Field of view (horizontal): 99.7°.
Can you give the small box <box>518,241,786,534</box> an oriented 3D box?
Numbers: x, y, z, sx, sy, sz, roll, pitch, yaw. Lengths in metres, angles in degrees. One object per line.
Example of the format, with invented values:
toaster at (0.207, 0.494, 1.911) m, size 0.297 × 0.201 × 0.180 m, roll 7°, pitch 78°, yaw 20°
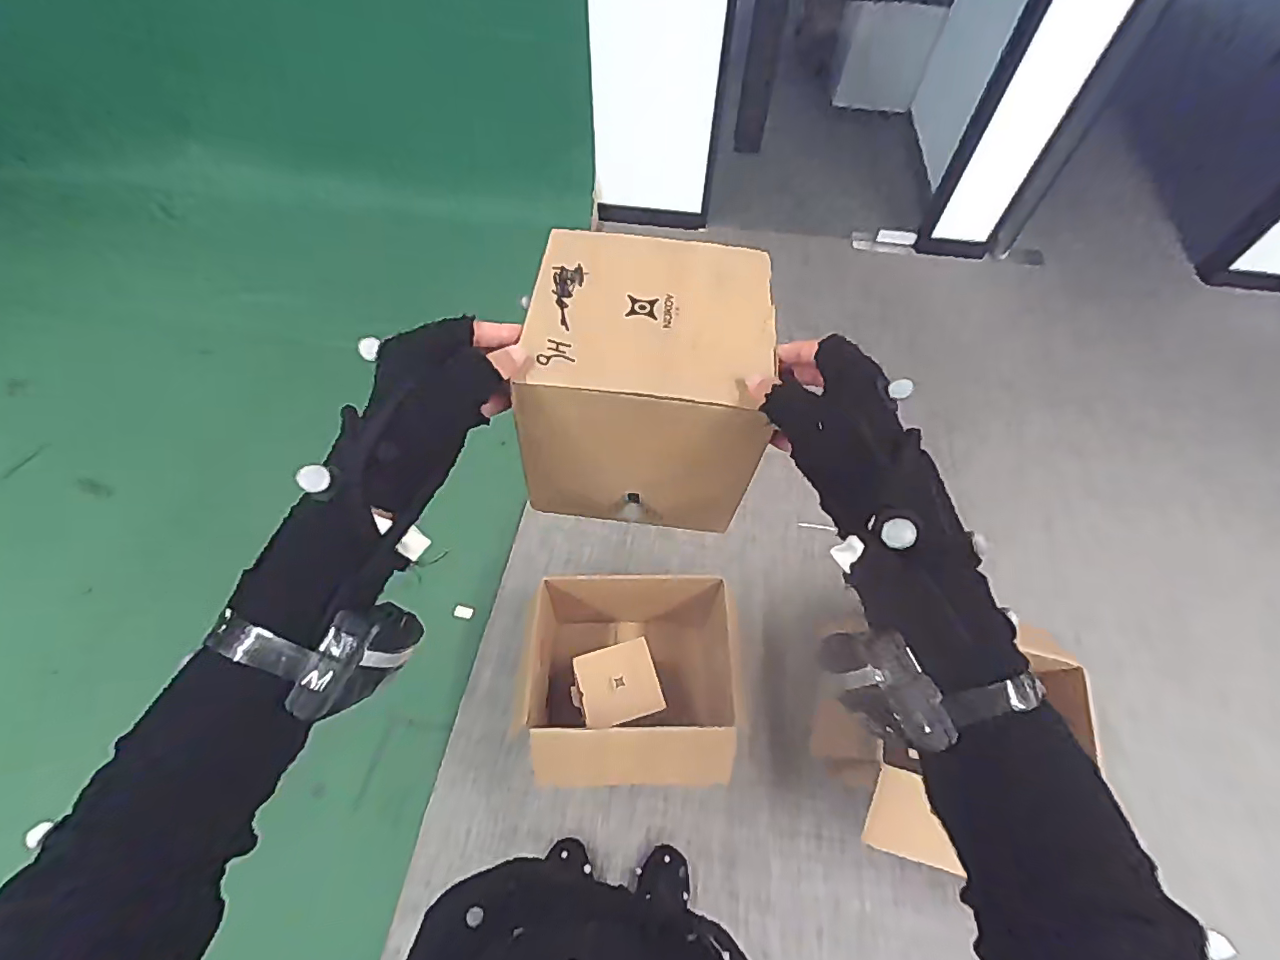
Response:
small box at (0.007, -0.067, 0.453) m, size 0.179 × 0.176 × 0.168 m, roll 6°, pitch 56°, yaw -2°
